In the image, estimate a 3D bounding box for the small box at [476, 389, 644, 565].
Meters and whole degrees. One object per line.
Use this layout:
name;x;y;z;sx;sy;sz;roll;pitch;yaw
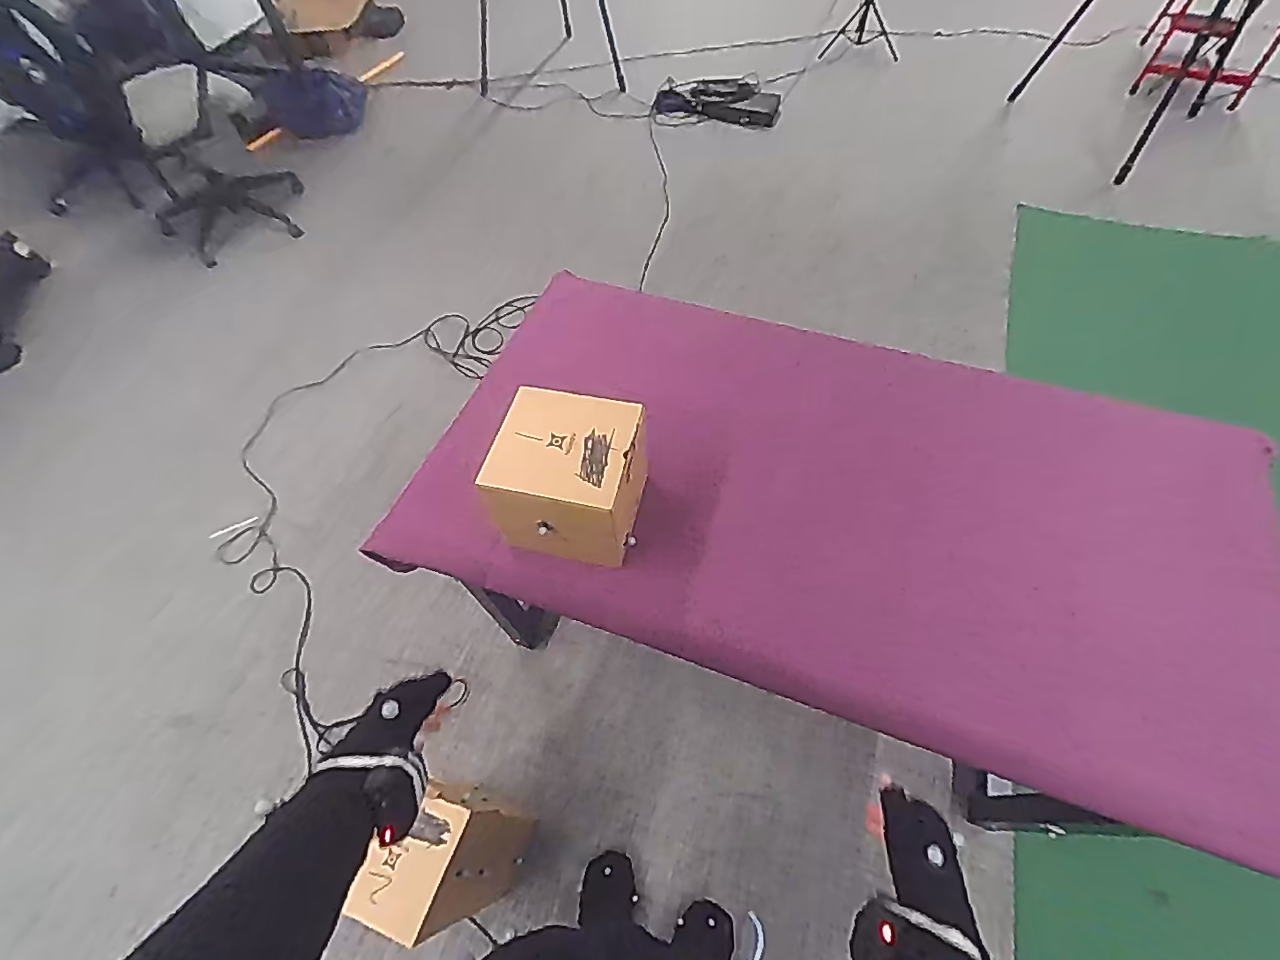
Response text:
small box;-0.096;0.002;0.752;0.179;0.176;0.168;11;58;9
